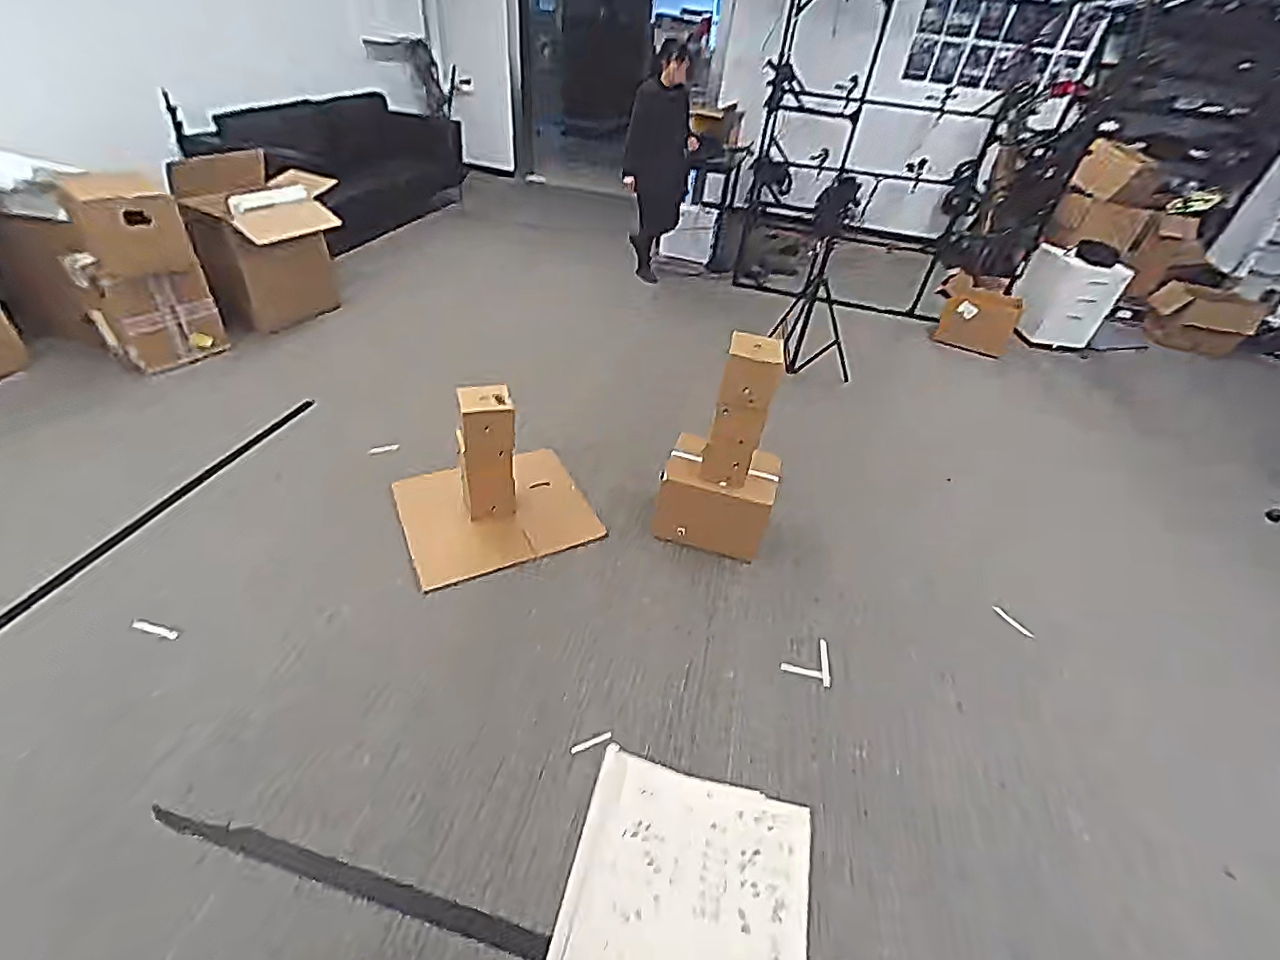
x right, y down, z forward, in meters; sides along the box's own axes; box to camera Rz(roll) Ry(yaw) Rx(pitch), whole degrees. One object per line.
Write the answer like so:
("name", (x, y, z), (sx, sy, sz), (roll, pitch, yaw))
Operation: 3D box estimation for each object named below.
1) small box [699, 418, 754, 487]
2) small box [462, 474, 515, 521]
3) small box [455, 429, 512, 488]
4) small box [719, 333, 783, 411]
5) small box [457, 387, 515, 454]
("small box", (0.311, -0.096, 1.948), (0.168, 0.176, 0.179), (12, 39, 3))
("small box", (-0.594, 0.039, 2.109), (0.179, 0.176, 0.168), (-10, 42, -24))
("small box", (-0.578, -0.087, 2.006), (0.179, 0.176, 0.168), (-9, 42, -23))
("small box", (0.356, -0.347, 1.740), (0.168, 0.176, 0.179), (12, 40, 6))
("small box", (-0.542, -0.208, 1.900), (0.179, 0.176, 0.168), (-8, 41, -20))
